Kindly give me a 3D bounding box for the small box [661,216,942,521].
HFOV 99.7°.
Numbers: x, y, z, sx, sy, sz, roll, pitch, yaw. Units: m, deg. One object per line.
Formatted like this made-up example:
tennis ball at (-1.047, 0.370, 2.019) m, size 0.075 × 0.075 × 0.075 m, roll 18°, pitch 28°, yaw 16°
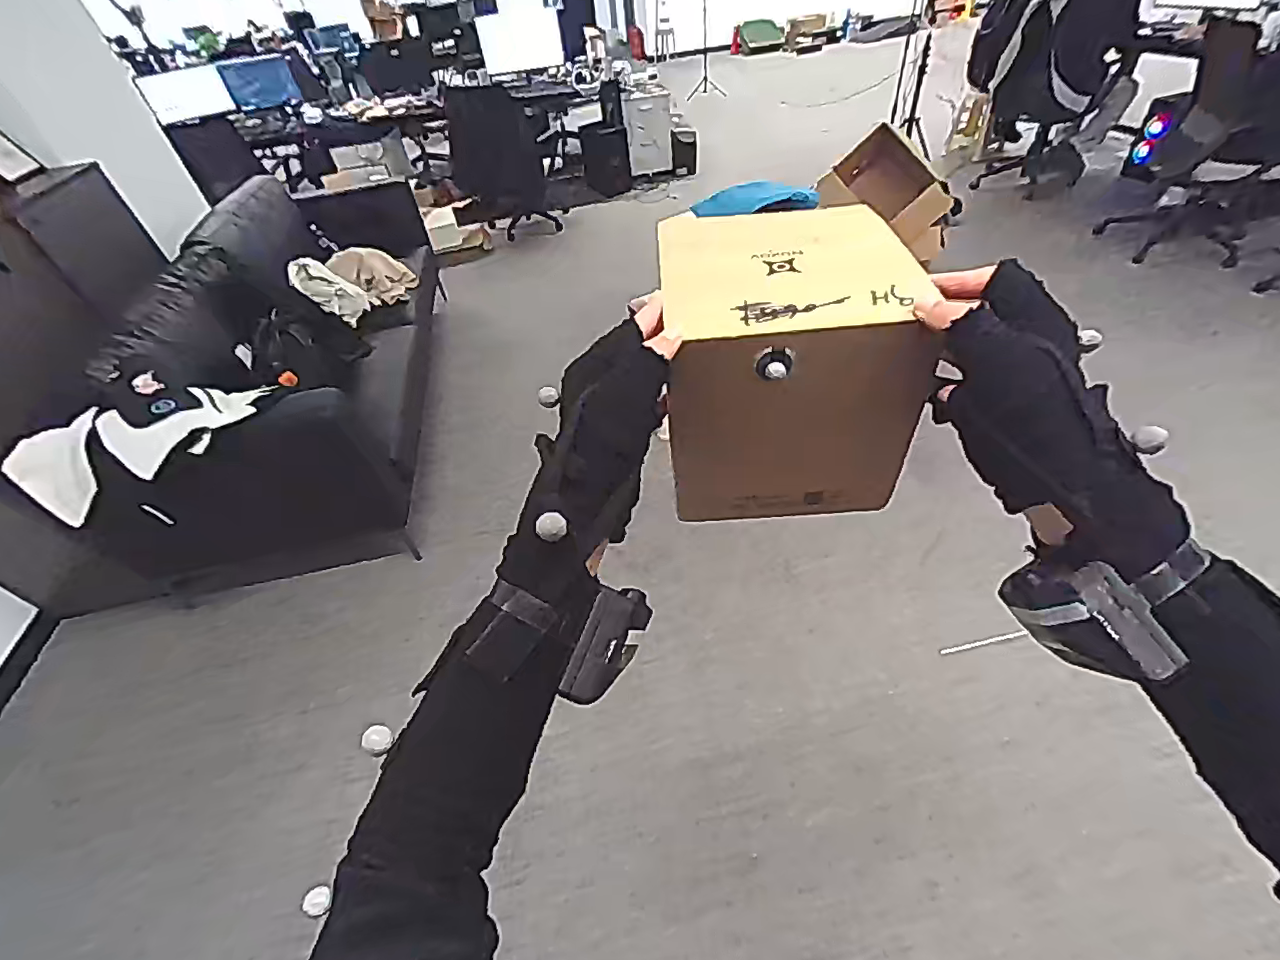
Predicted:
small box at (0.103, -0.088, 0.432) m, size 0.168 × 0.176 × 0.179 m, roll -4°, pitch 45°, yaw 5°
